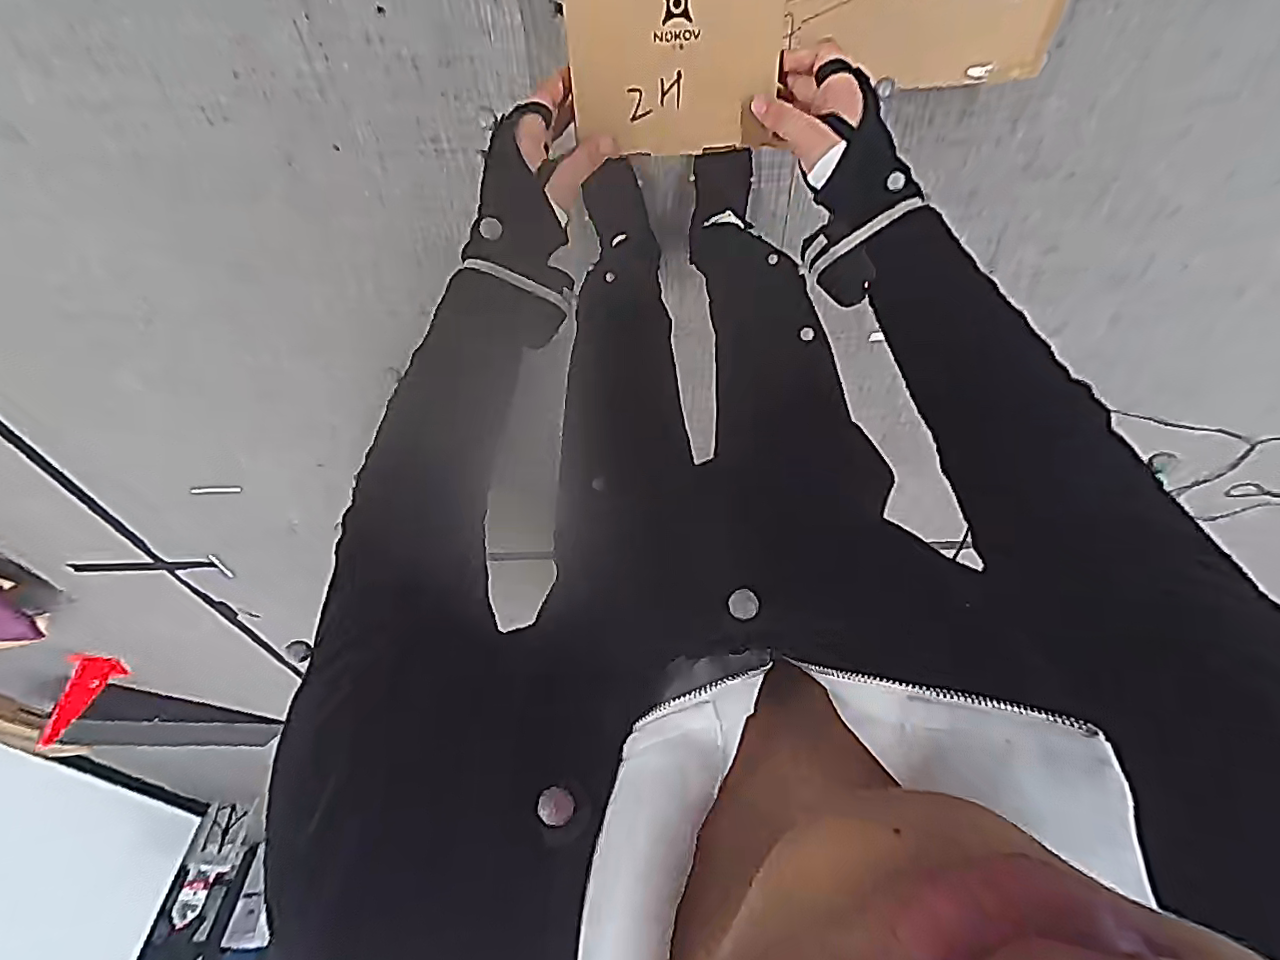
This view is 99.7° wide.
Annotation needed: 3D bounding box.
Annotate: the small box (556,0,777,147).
[{"bbox_3d":[0.013,-0.405,0.466,0.168,0.176,0.179,-6,131,-4],"label":"small box"}]
